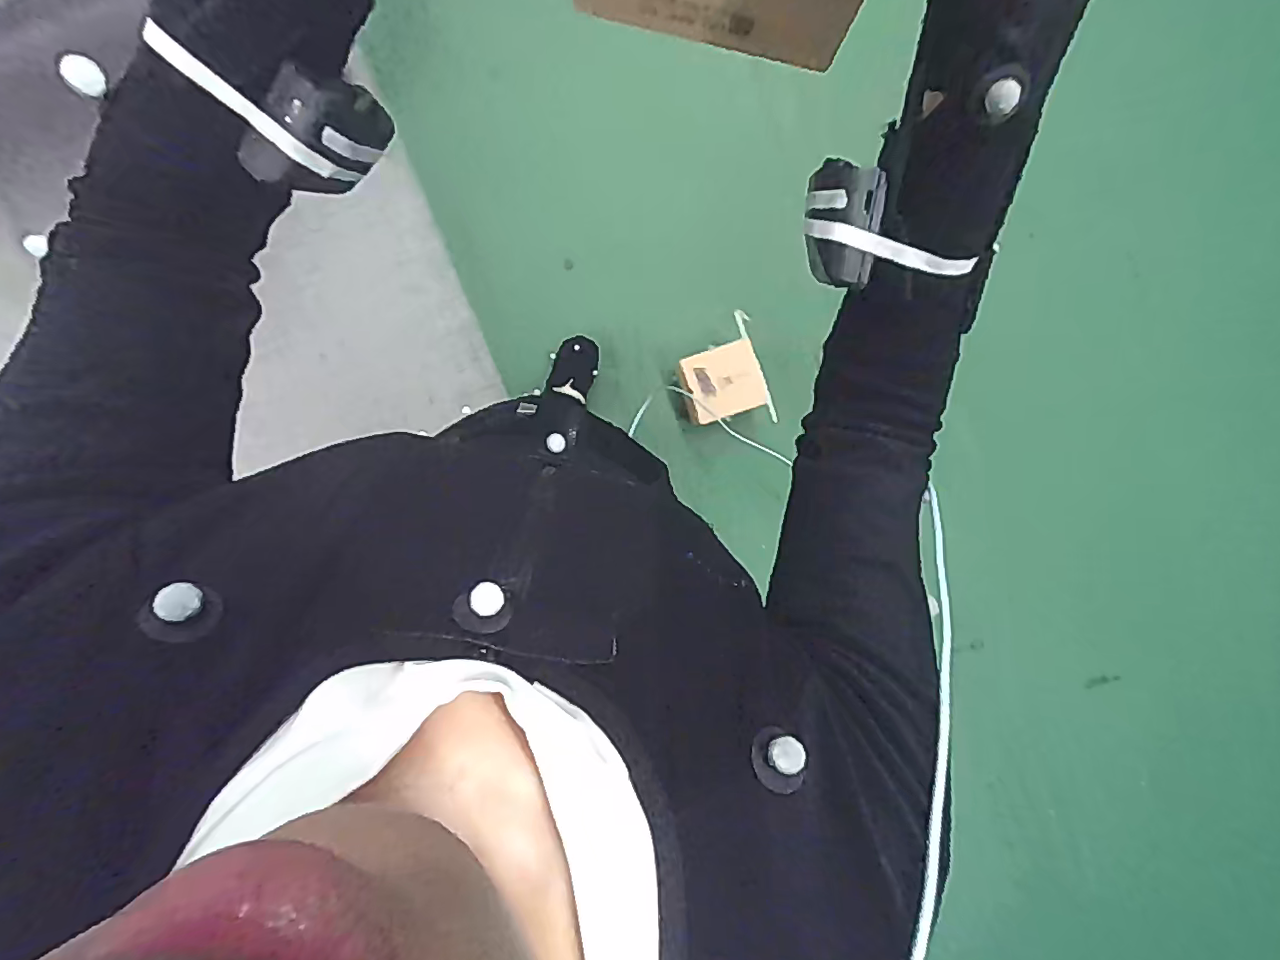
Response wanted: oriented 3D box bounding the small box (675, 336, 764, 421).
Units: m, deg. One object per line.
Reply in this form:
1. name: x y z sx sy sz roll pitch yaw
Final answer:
1. small box: 0.194 -0.251 1.378 0.179 0.176 0.168 -18 97 0
